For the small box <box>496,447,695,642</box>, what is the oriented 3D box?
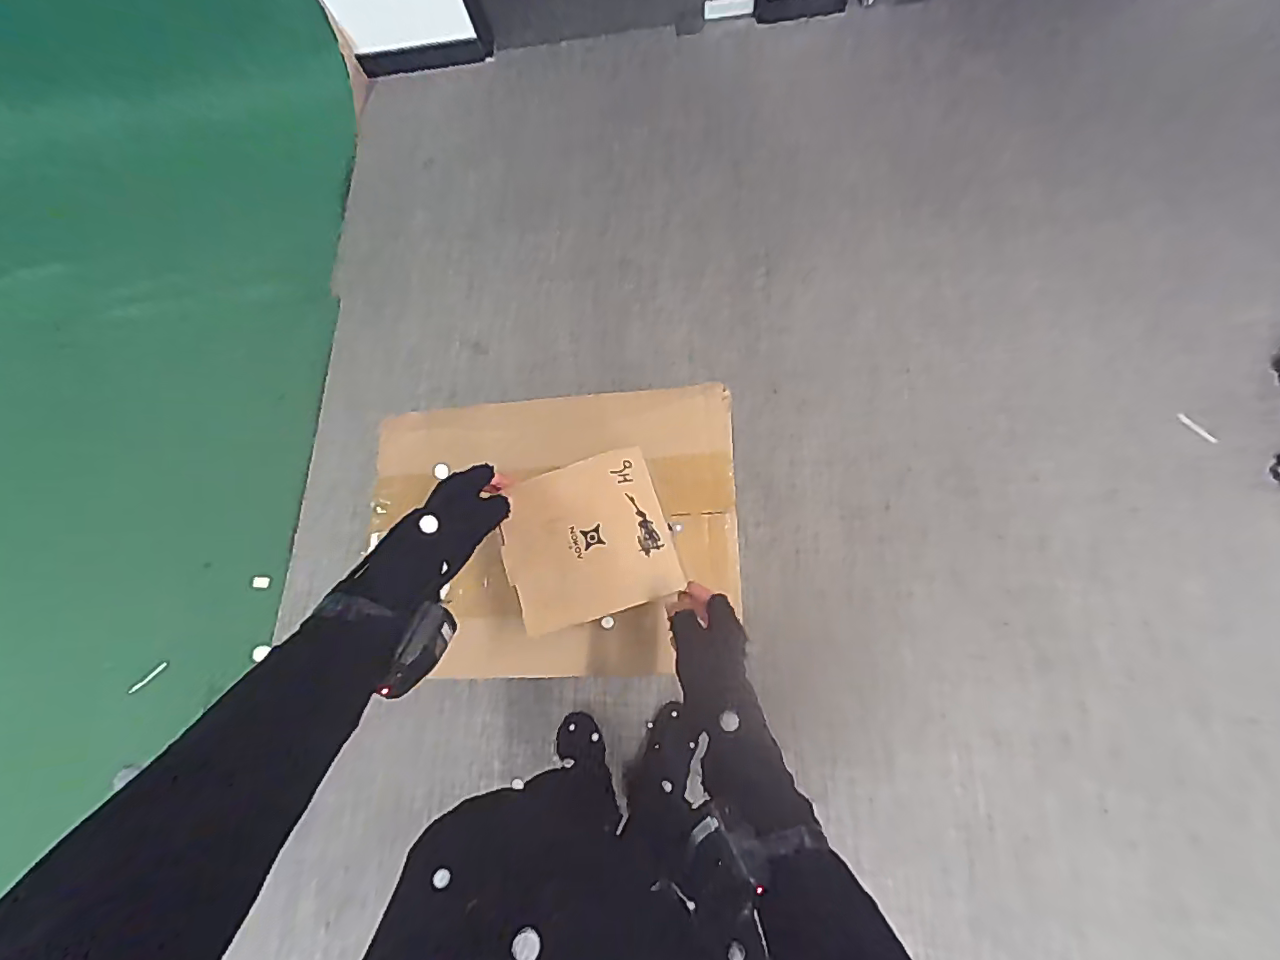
[{"bbox_3d":[-0.043,0.083,0.652,0.179,0.176,0.168,-21,77,3],"label":"small box"}]
